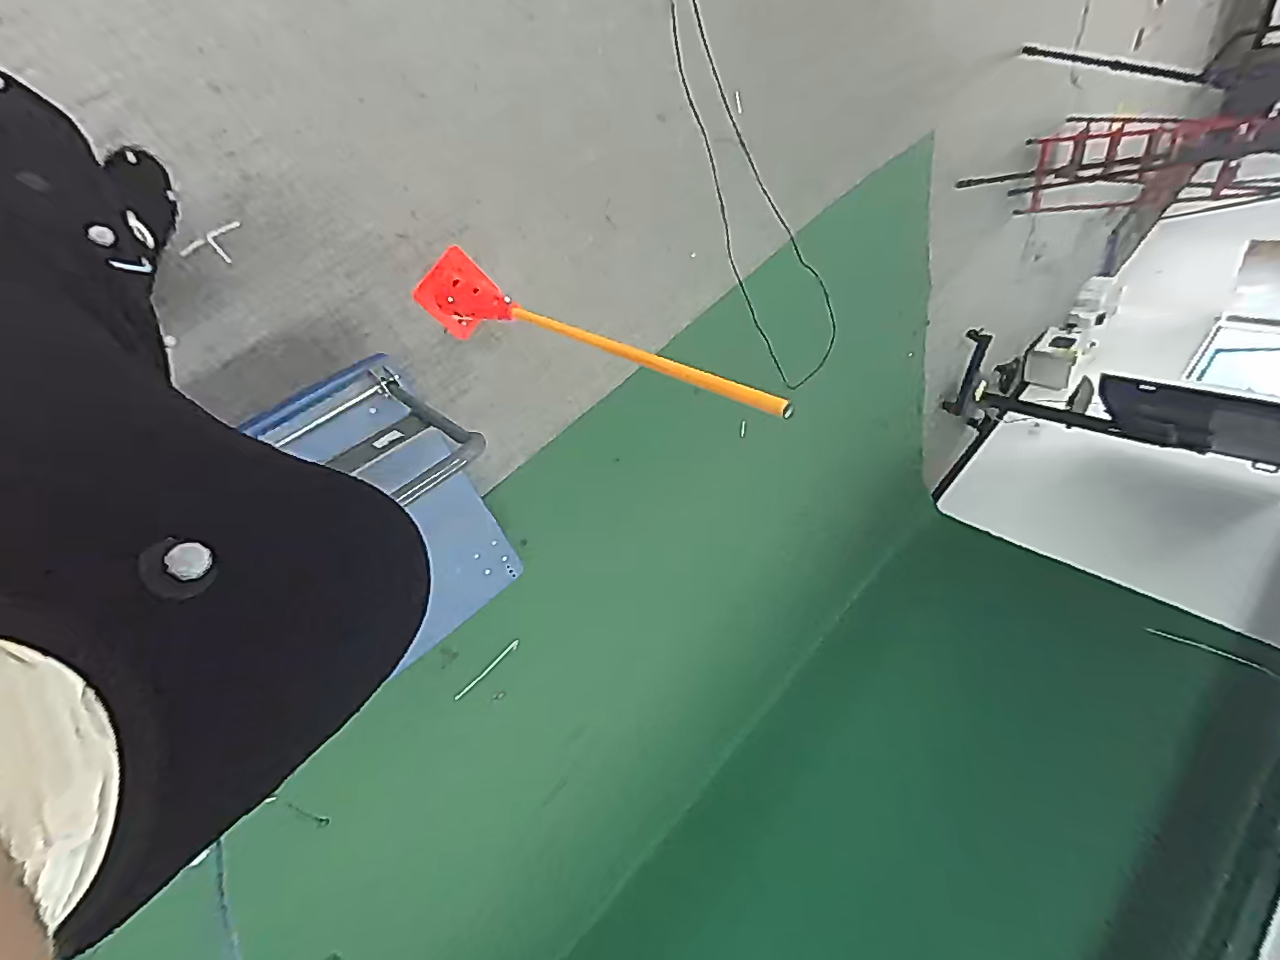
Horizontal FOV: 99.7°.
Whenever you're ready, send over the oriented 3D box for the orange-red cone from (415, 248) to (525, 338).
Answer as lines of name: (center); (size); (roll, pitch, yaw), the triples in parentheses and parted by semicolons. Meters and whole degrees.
orange-red cone: (-0.416, -0.481, 1.459); (0.199, 0.360, 0.198); (-54, 137, -8)
